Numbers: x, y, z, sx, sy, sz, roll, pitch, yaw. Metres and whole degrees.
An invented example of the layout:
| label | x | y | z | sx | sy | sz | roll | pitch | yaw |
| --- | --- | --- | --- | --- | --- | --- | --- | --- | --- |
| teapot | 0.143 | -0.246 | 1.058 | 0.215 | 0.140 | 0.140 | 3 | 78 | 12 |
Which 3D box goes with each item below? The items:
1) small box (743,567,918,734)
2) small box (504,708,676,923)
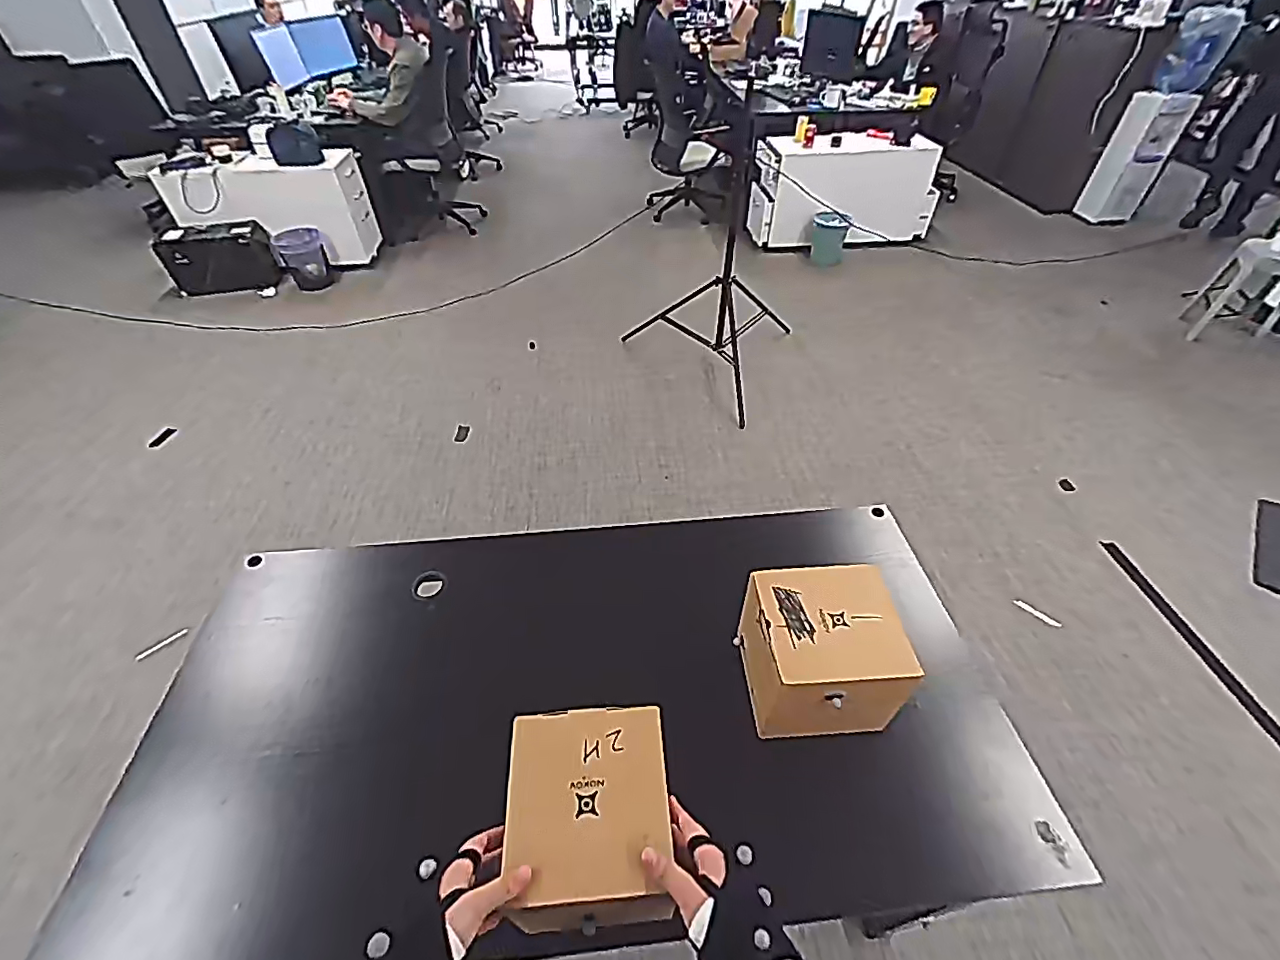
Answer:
| label | x | y | z | sx | sy | sz | roll | pitch | yaw |
| --- | --- | --- | --- | --- | --- | --- | --- | --- | --- |
| small box | 0.248 | 0.242 | 0.760 | 0.179 | 0.176 | 0.168 | -3 | 44 | -2 |
| small box | -0.049 | 0.385 | 0.618 | 0.168 | 0.176 | 0.179 | -3 | 44 | -3 |
